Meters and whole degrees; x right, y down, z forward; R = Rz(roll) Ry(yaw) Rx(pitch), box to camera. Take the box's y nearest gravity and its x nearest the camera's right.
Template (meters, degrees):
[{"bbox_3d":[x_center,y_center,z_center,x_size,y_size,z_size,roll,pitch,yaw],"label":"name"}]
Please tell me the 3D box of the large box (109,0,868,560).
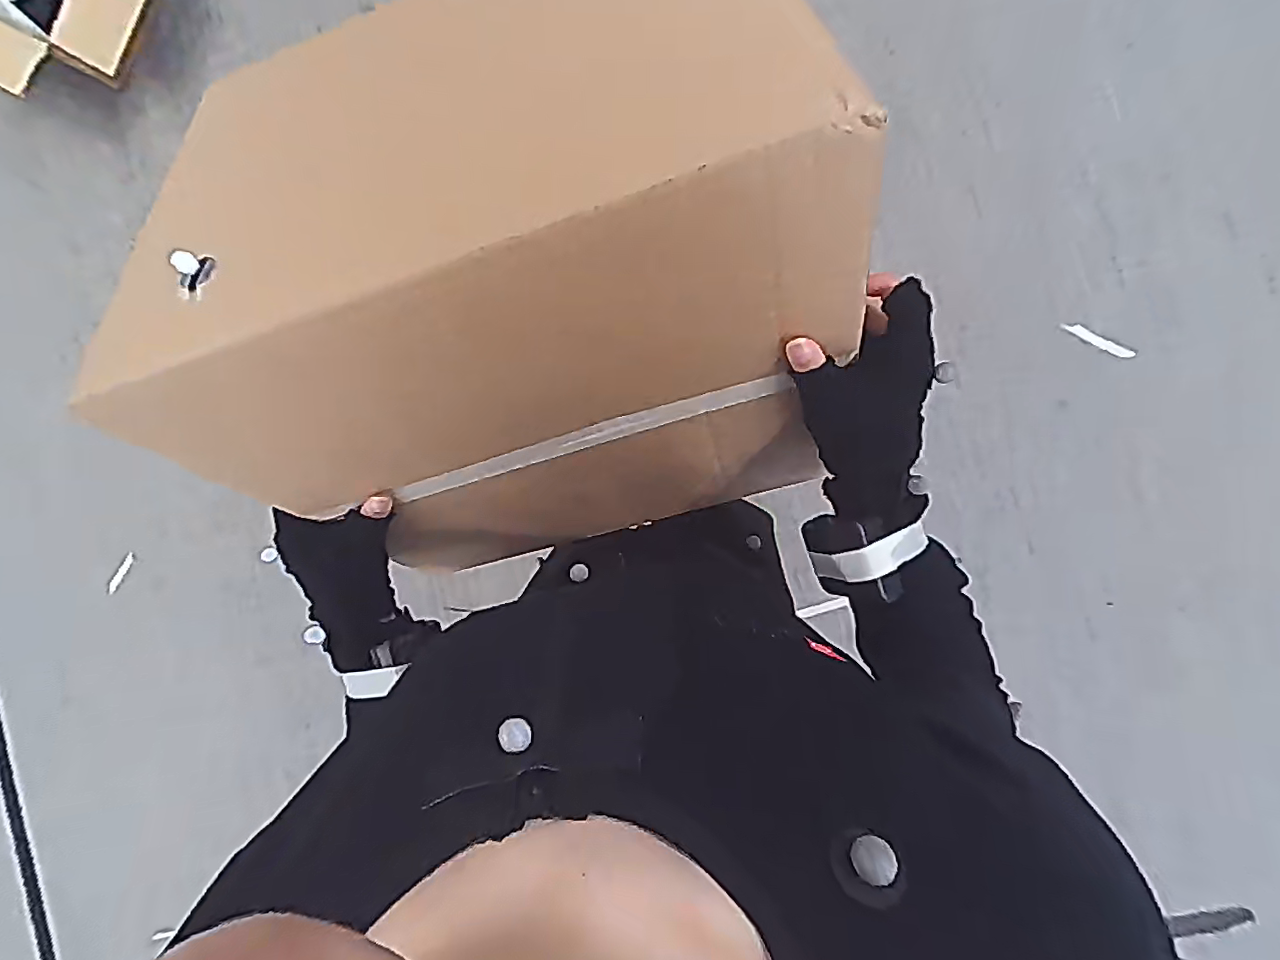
[{"bbox_3d":[-0.079,-0.168,0.450,0.408,0.320,0.320,-15,61,9],"label":"large box"}]
